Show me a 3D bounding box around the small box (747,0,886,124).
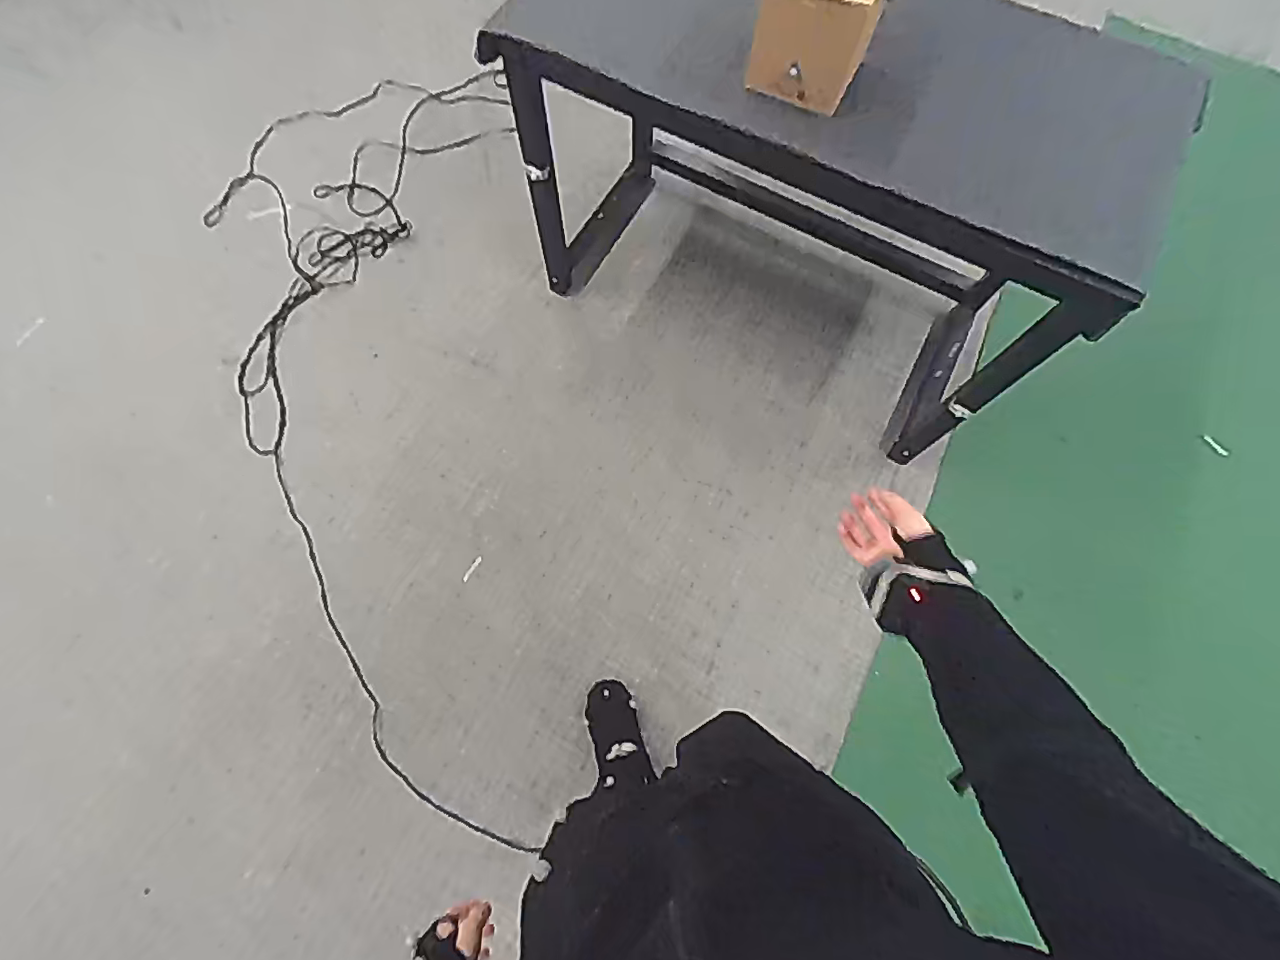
[{"bbox_3d":[0.295,-0.747,0.901,0.168,0.176,0.179,26,71,8],"label":"small box"}]
